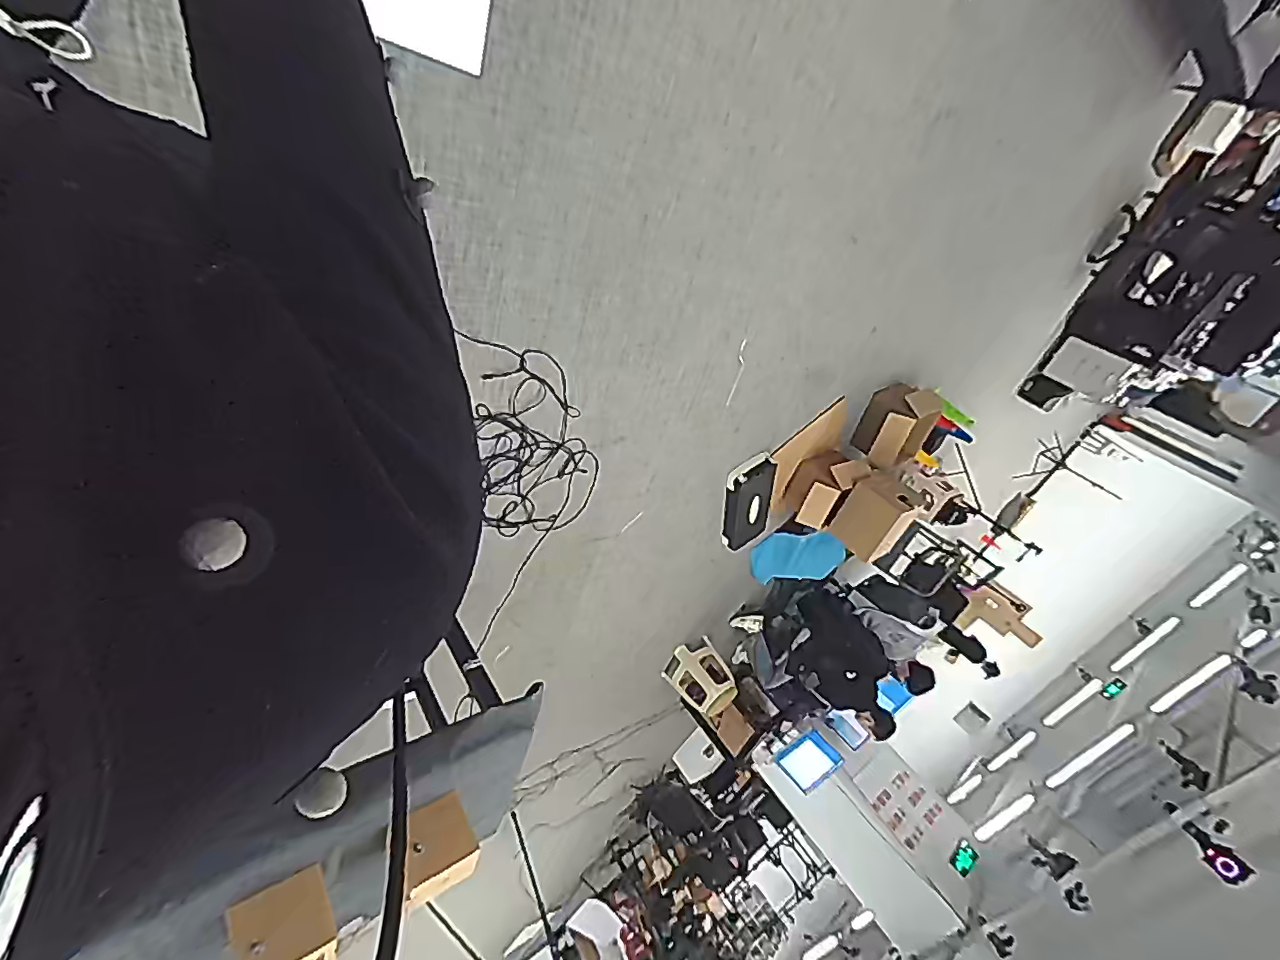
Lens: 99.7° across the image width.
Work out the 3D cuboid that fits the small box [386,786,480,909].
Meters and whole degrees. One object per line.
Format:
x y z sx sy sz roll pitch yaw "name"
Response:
-0.540 0.942 1.398 0.179 0.176 0.168 -13 136 -40 "small box"
